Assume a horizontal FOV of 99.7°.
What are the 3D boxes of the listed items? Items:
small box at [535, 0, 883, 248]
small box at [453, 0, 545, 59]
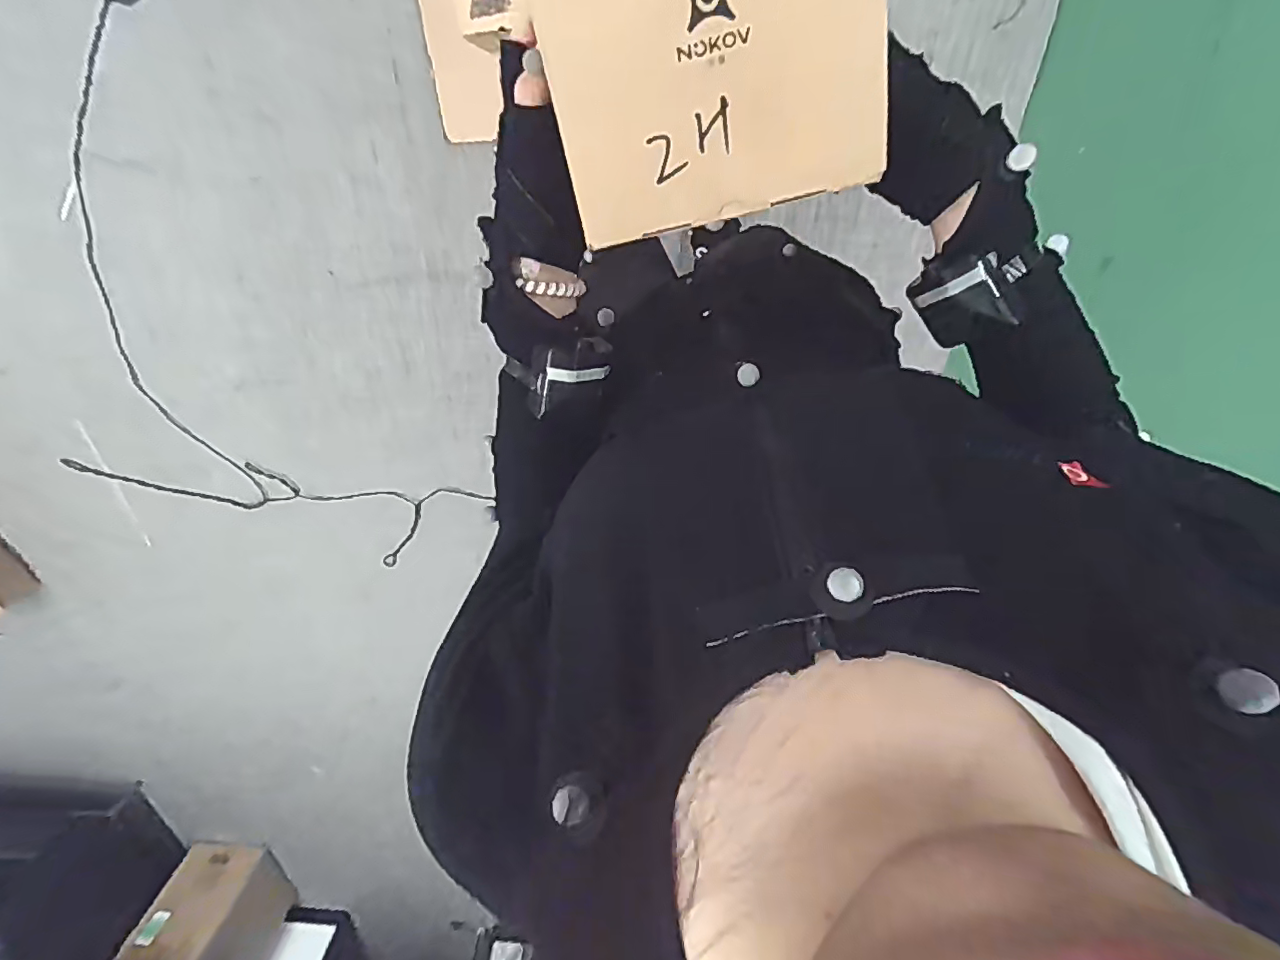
[{"bbox_3d":[0.035,-0.257,0.332,0.168,0.176,0.179,-9,119,7],"label":"small box"},{"bbox_3d":[-0.247,-0.912,1.014,0.168,0.176,0.179,-1,119,5],"label":"small box"}]
